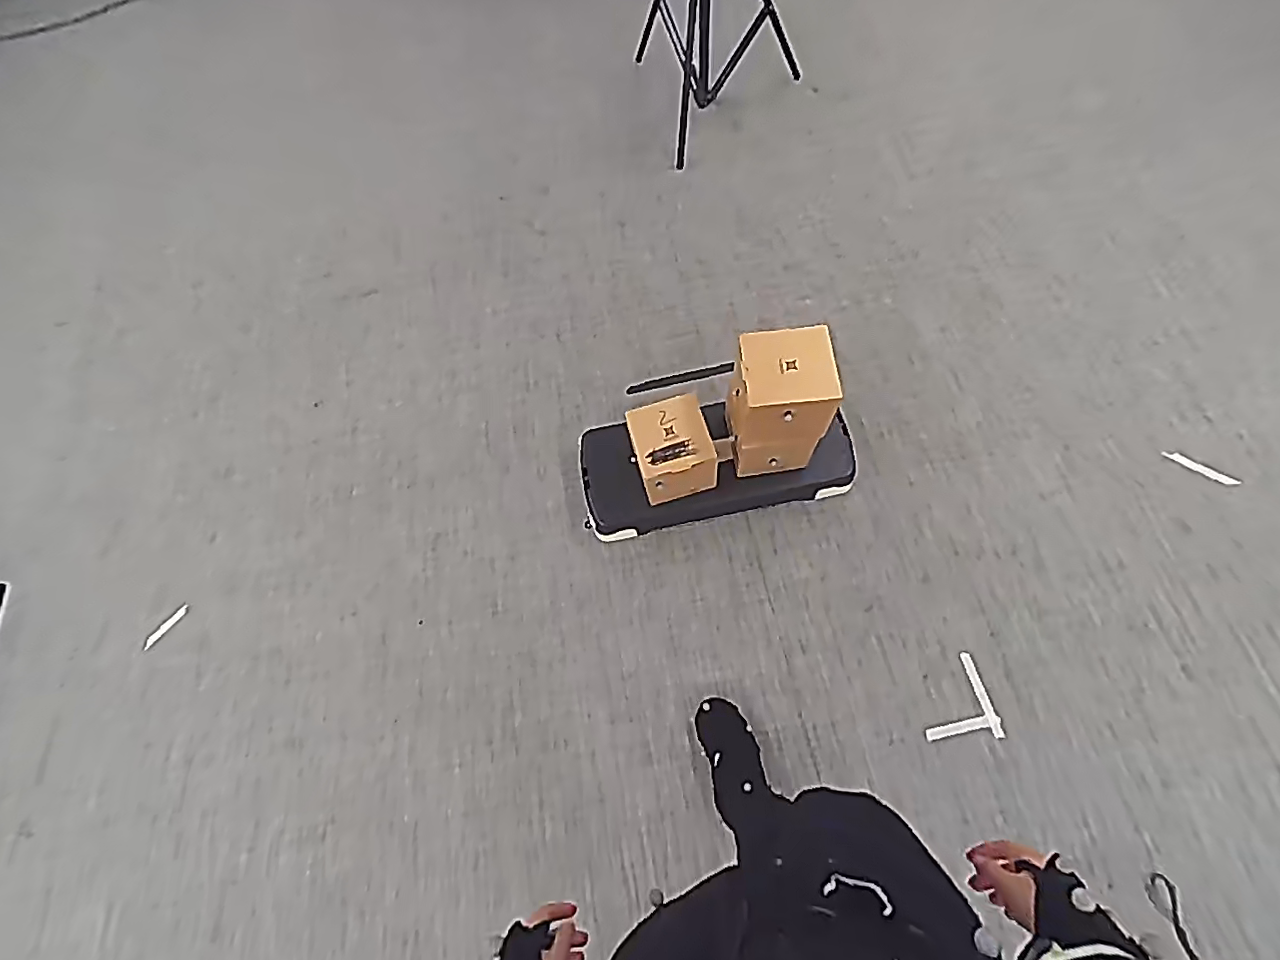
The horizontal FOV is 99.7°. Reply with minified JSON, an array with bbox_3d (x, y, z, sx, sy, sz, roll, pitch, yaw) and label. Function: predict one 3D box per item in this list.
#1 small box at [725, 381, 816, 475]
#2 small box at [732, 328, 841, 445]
[{"bbox_3d":[0.293,-0.121,1.250,0.168,0.176,0.179,-8,67,3],"label":"small box"},{"bbox_3d":[0.288,-0.184,1.099,0.179,0.176,0.168,-6,68,5],"label":"small box"}]
